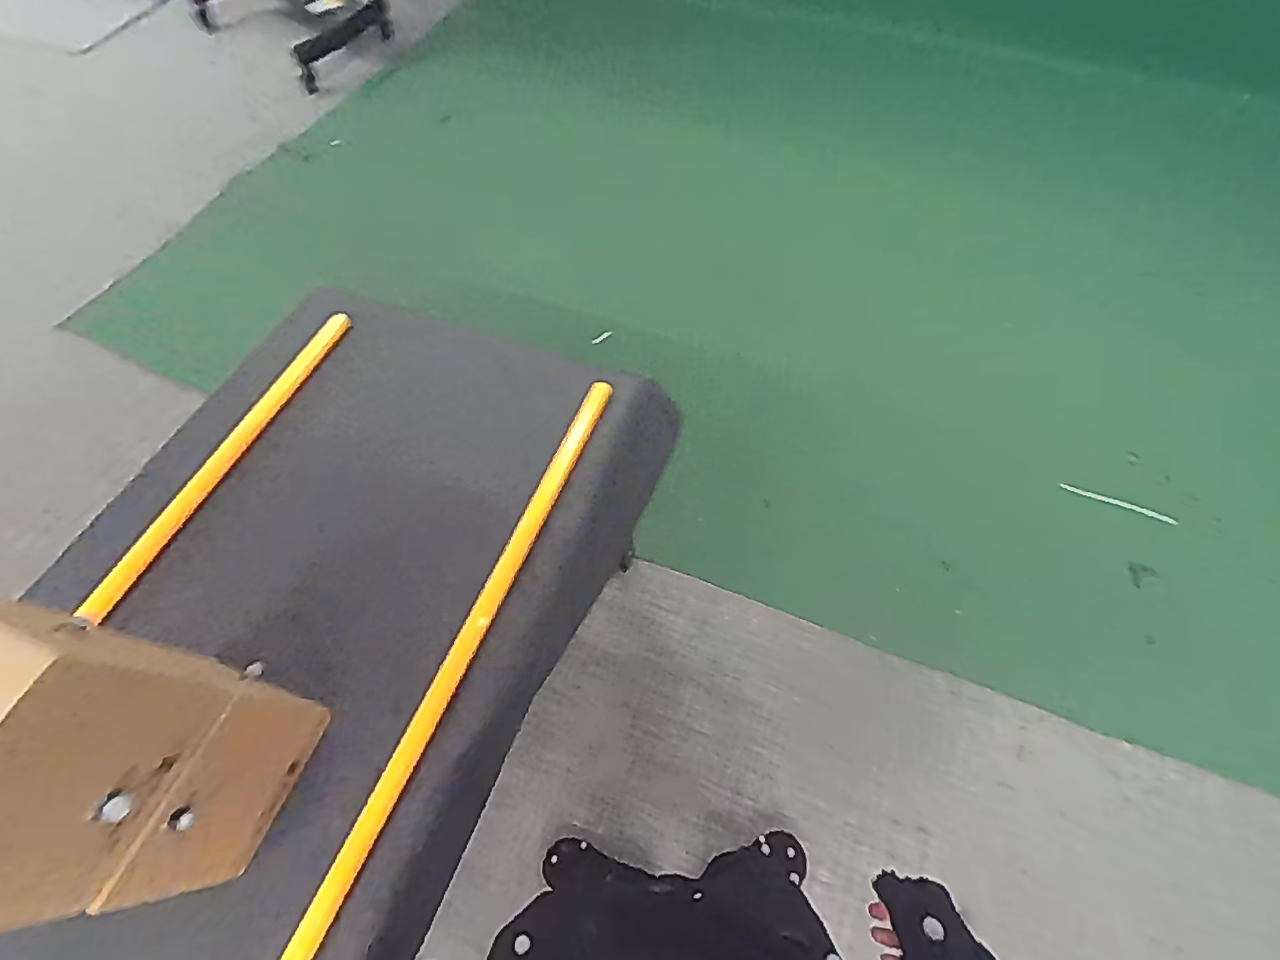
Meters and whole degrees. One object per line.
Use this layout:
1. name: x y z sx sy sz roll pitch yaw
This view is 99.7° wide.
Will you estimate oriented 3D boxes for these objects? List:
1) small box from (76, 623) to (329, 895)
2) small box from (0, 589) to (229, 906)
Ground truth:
1. small box: -0.458 0.262 0.527 0.179 0.176 0.168 16 64 10
2. small box: -0.463 0.181 0.384 0.179 0.176 0.168 18 63 9
